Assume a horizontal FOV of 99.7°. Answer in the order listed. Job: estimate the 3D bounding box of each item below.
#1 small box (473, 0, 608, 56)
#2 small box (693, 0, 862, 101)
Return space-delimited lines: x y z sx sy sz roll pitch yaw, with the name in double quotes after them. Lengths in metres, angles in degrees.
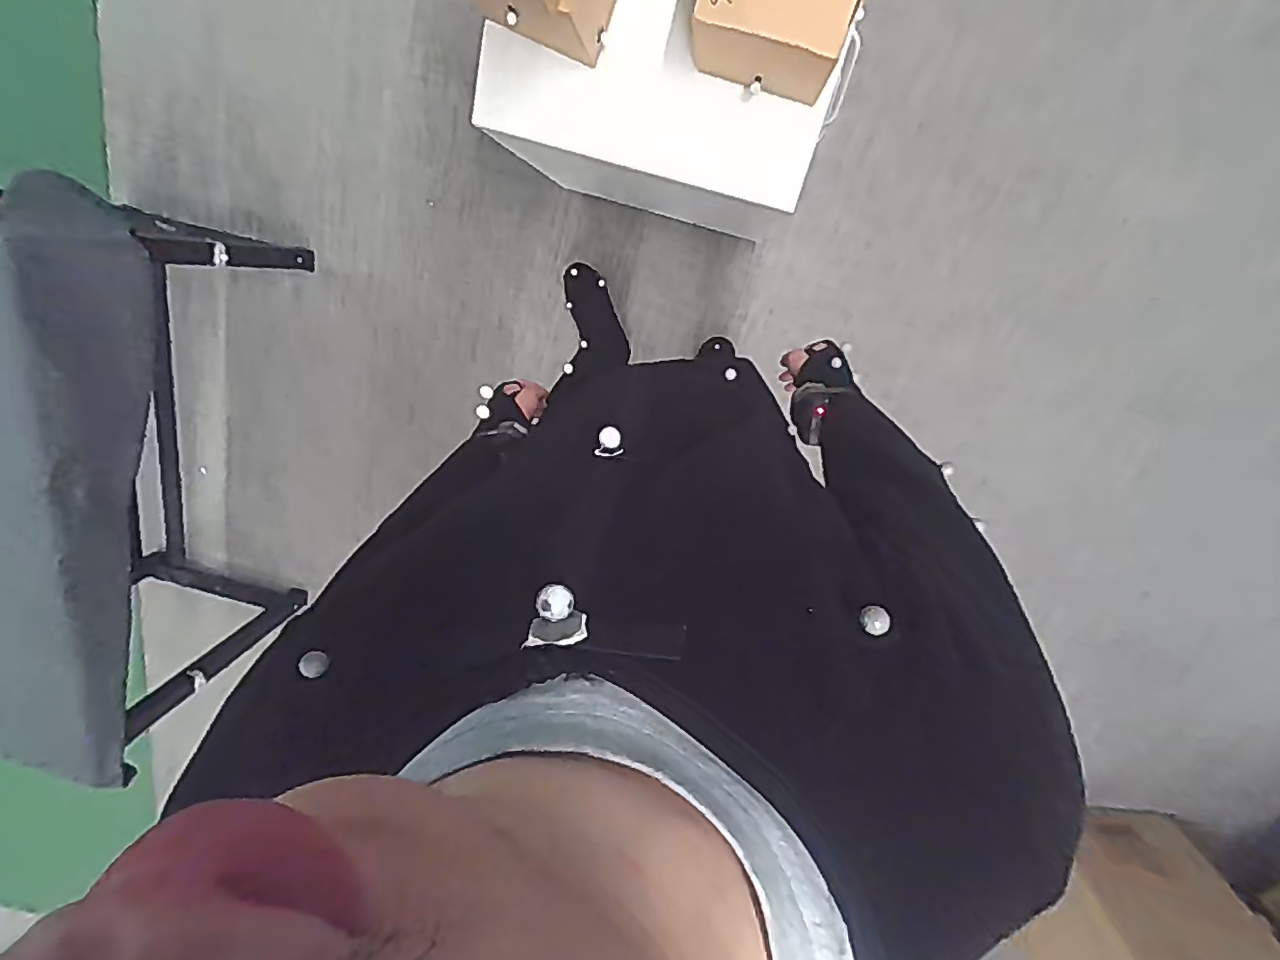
-0.122 -0.661 0.654 0.179 0.176 0.168 24 109 -3 "small box"
0.171 -0.591 0.650 0.179 0.176 0.168 18 110 -1 "small box"
